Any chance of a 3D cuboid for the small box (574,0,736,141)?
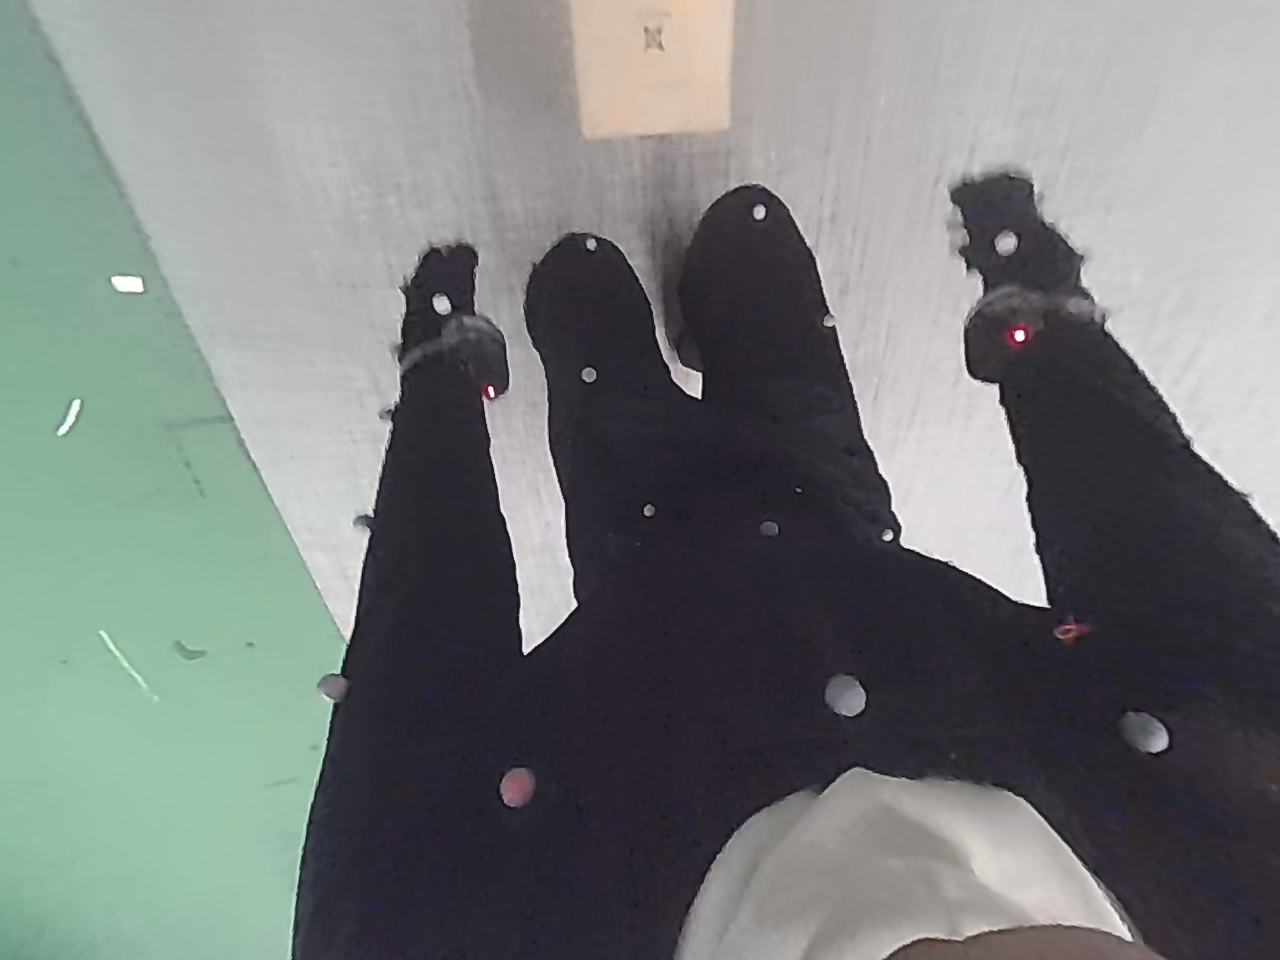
[{"bbox_3d":[0.018,-0.498,0.622,0.168,0.176,0.179,-1,124,4],"label":"small box"}]
